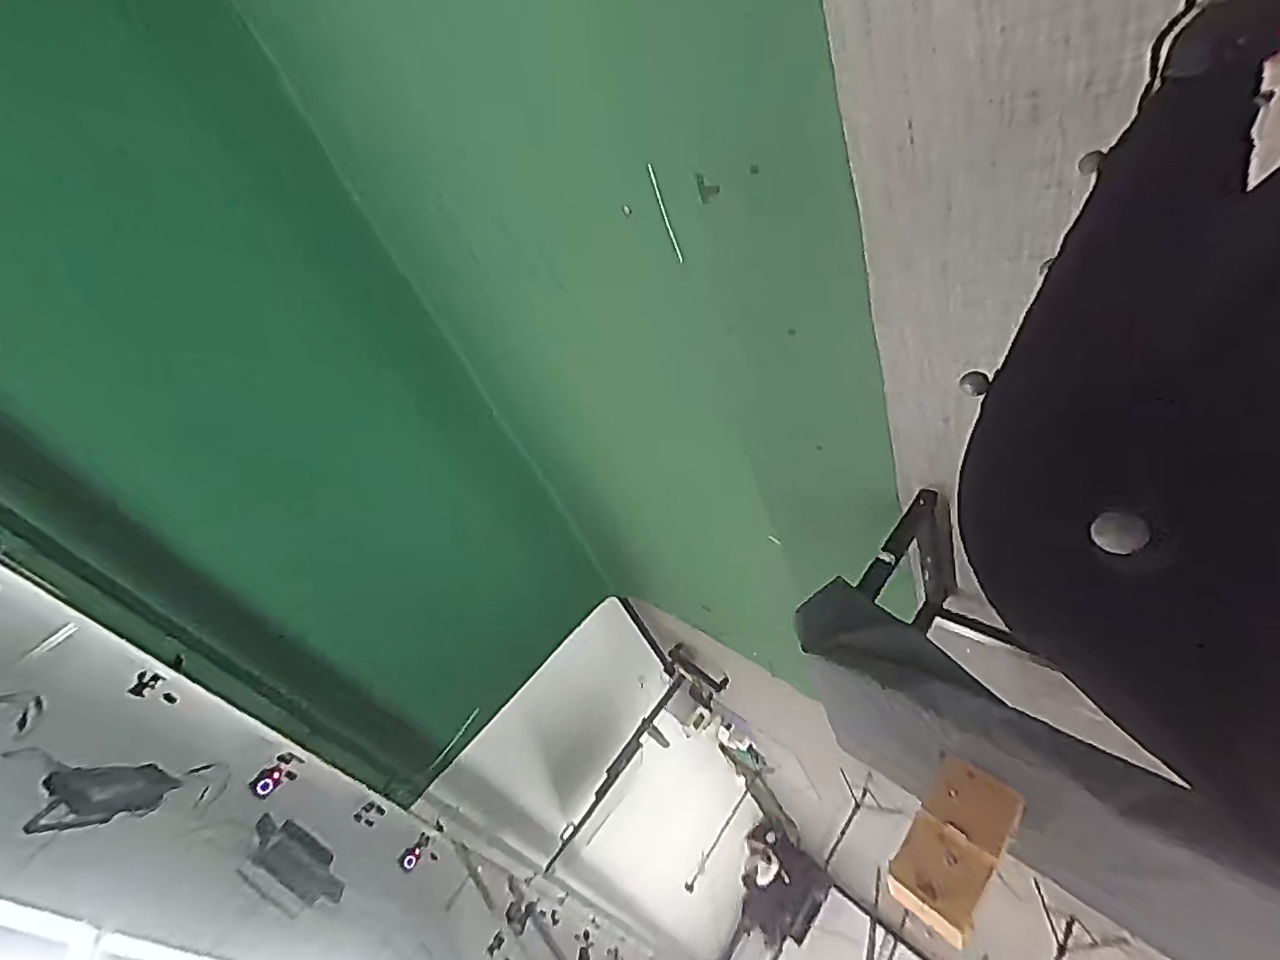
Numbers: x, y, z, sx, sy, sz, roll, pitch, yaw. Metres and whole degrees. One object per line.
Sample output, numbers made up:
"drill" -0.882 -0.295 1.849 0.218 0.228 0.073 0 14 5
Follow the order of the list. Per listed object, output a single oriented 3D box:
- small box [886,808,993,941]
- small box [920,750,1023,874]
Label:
"small box" 0.699 0.914 1.262 0.168 0.176 0.179 23 148 44
"small box" 0.803 0.798 1.311 0.168 0.176 0.179 22 149 45
